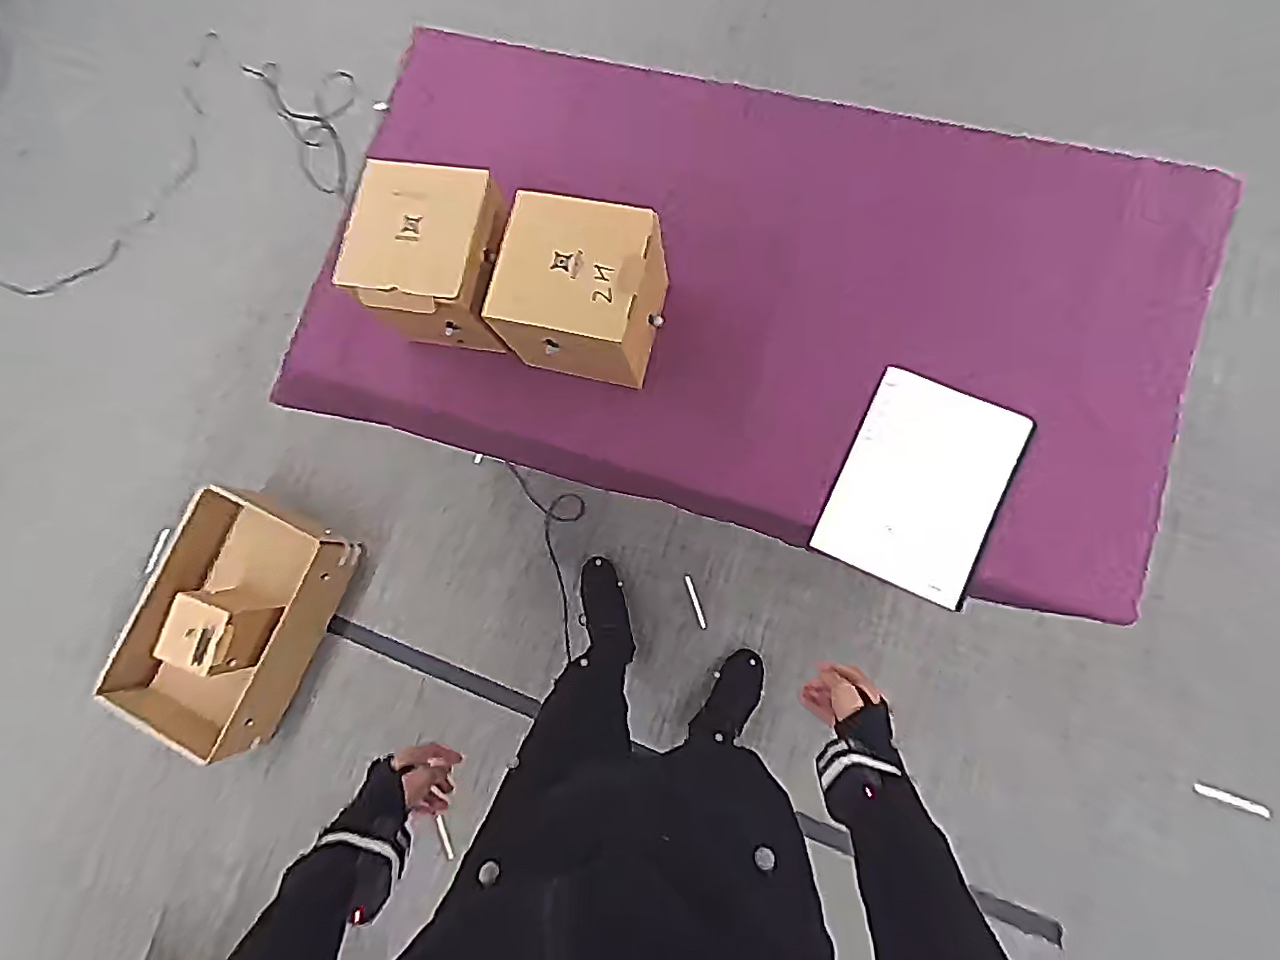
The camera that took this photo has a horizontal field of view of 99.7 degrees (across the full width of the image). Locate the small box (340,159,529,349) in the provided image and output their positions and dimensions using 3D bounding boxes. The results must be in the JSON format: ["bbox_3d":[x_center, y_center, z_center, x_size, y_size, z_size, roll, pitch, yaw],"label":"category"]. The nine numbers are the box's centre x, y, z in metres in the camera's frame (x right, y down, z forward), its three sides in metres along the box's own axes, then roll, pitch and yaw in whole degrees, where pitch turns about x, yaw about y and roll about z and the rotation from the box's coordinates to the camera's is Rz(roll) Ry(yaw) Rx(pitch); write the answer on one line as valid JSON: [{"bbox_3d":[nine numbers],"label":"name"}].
[{"bbox_3d":[-0.265,-0.296,0.740,0.168,0.176,0.179,10,83,8],"label":"small box"}]
